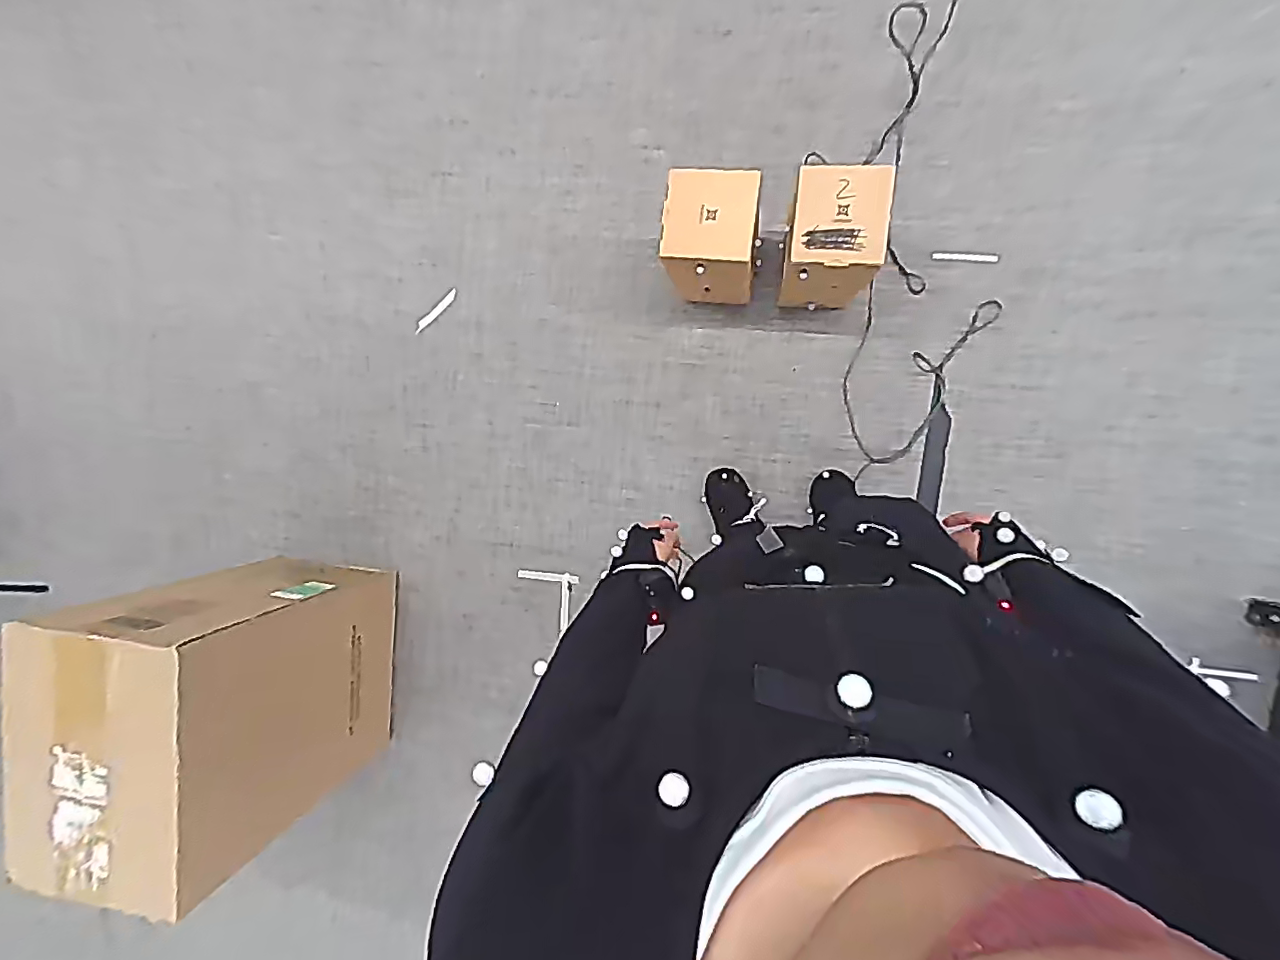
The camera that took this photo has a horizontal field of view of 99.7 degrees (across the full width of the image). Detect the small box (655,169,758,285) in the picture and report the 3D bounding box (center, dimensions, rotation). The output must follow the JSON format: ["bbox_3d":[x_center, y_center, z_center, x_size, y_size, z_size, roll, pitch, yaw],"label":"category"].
[{"bbox_3d":[0.139,-0.504,1.098,0.179,0.176,0.168,8,95,11],"label":"small box"}]

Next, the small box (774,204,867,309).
[{"bbox_3d":[0.396,-0.496,1.216,0.168,0.176,0.179,6,96,10],"label":"small box"}]

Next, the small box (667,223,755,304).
[{"bbox_3d":[0.168,-0.515,1.257,0.179,0.176,0.168,7,96,10],"label":"small box"}]
